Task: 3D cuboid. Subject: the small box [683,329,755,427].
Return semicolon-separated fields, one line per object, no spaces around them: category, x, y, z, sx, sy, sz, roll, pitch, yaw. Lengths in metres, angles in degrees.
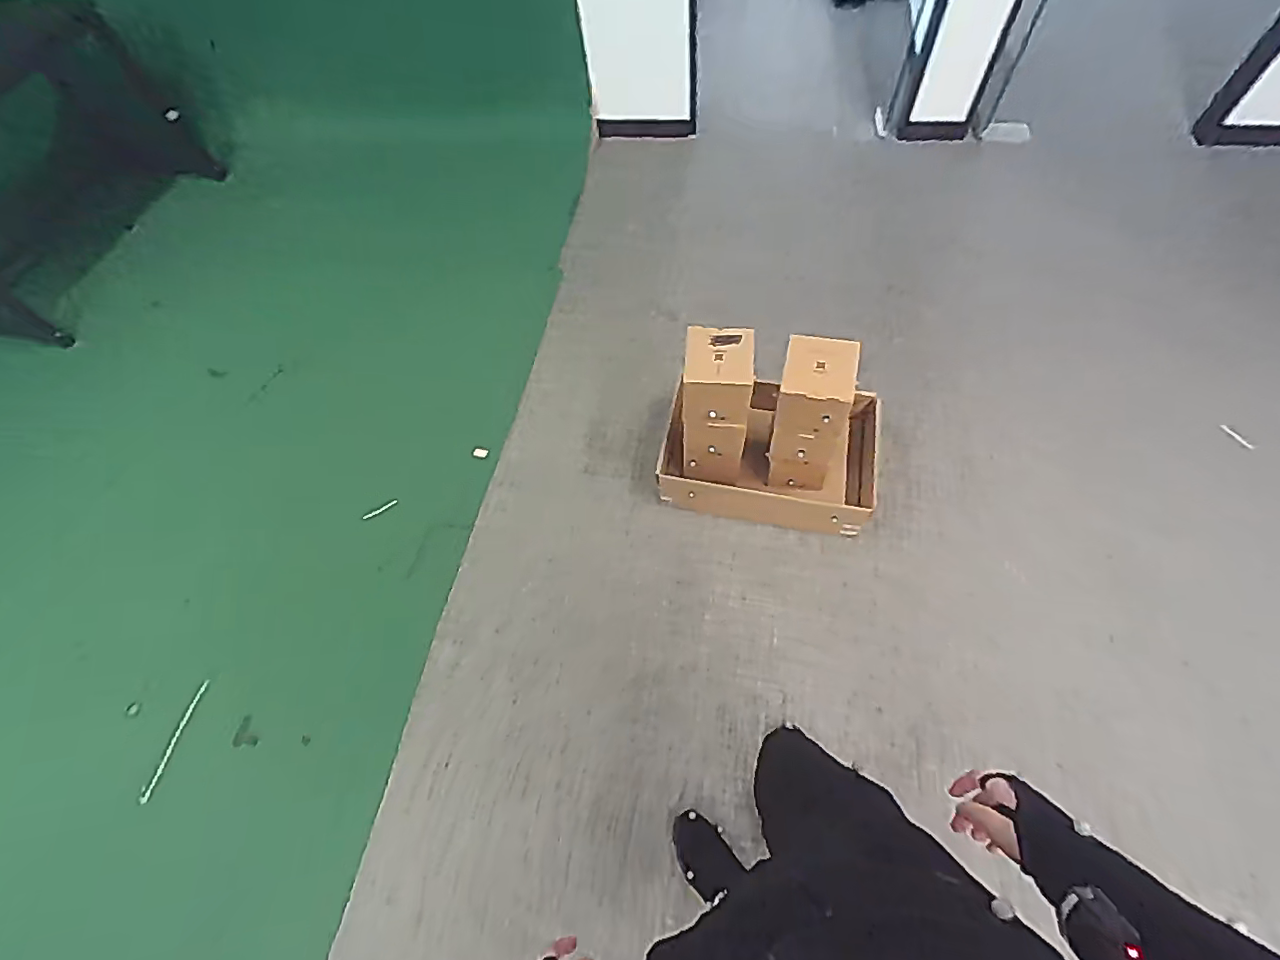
small box;0.198;-0.256;1.369;0.168;0.176;0.179;3;62;7

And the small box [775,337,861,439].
small box;0.433;-0.222;1.333;0.168;0.176;0.179;11;65;13

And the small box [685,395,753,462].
small box;0.219;-0.174;1.510;0.168;0.176;0.179;9;63;9
